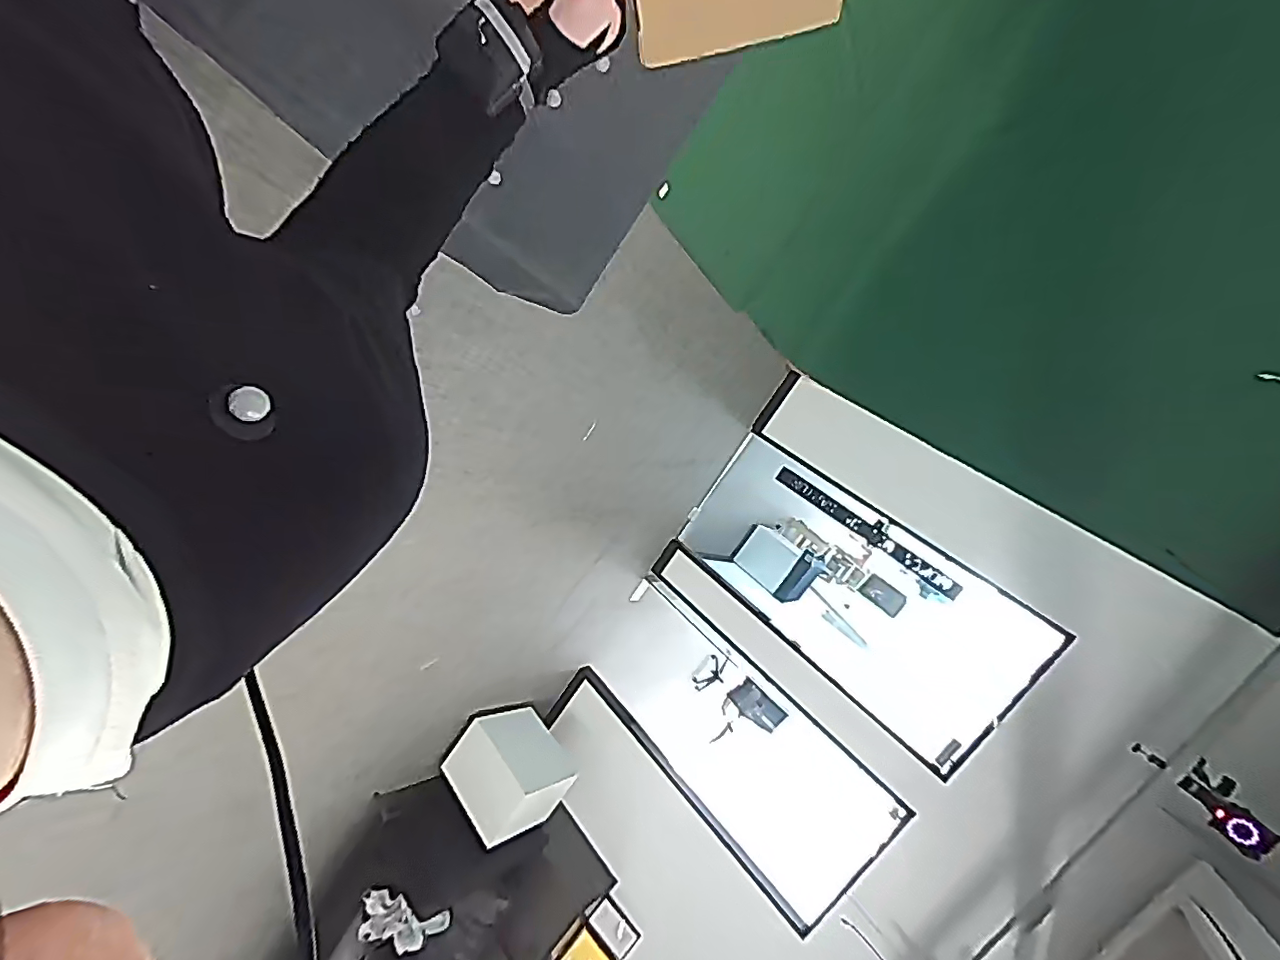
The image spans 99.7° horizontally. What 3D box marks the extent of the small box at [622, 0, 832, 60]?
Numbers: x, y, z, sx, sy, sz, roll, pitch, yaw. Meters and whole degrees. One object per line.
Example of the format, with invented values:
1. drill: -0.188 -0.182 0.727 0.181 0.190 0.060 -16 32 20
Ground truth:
1. small box: 0.060 -0.492 0.434 0.179 0.176 0.168 -9 158 6
